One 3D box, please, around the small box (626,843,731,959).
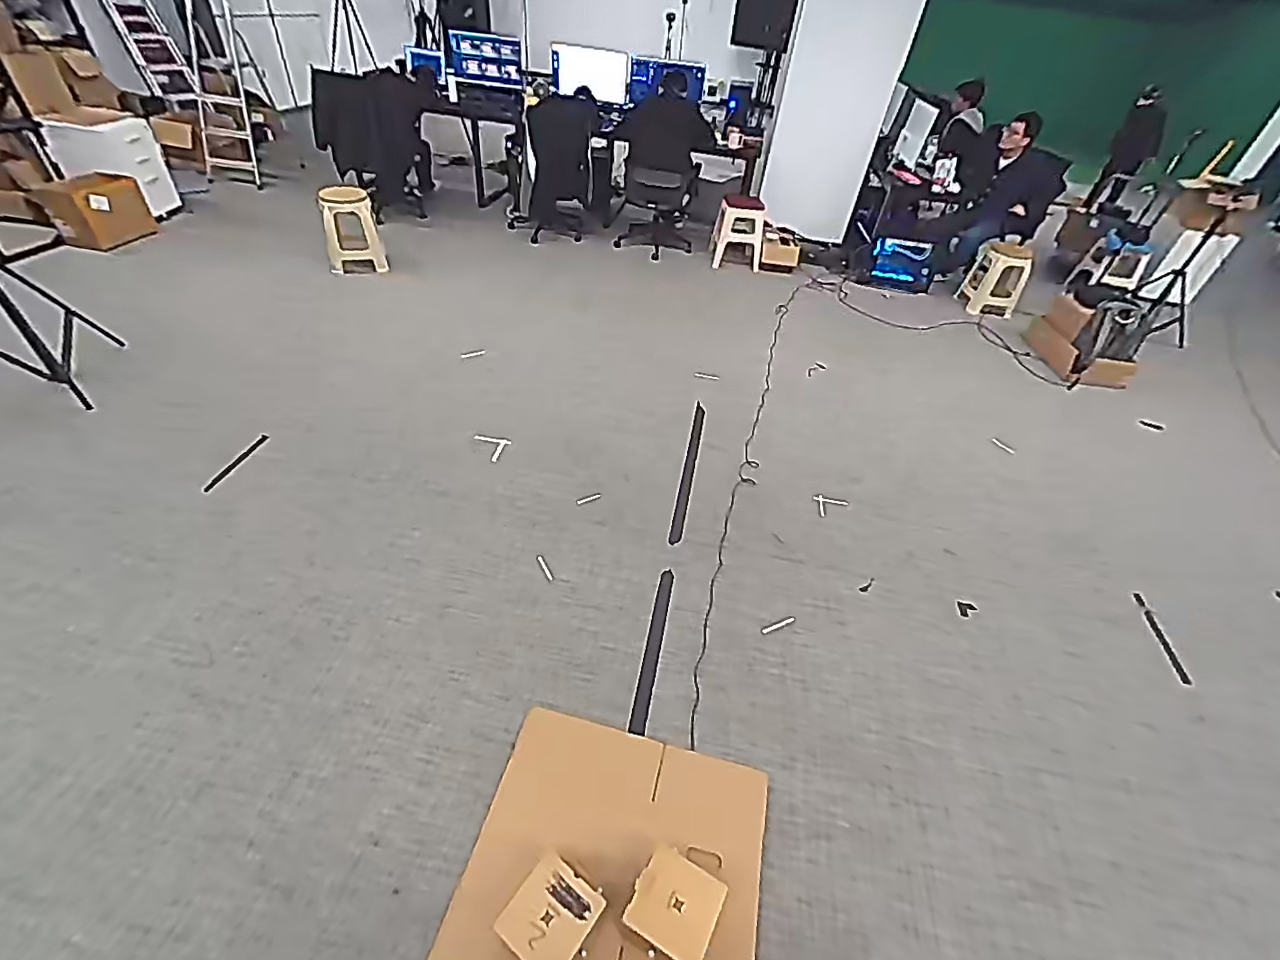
[{"bbox_3d":[0.084,0.961,1.207,0.179,0.176,0.168,21,46,20],"label":"small box"}]
